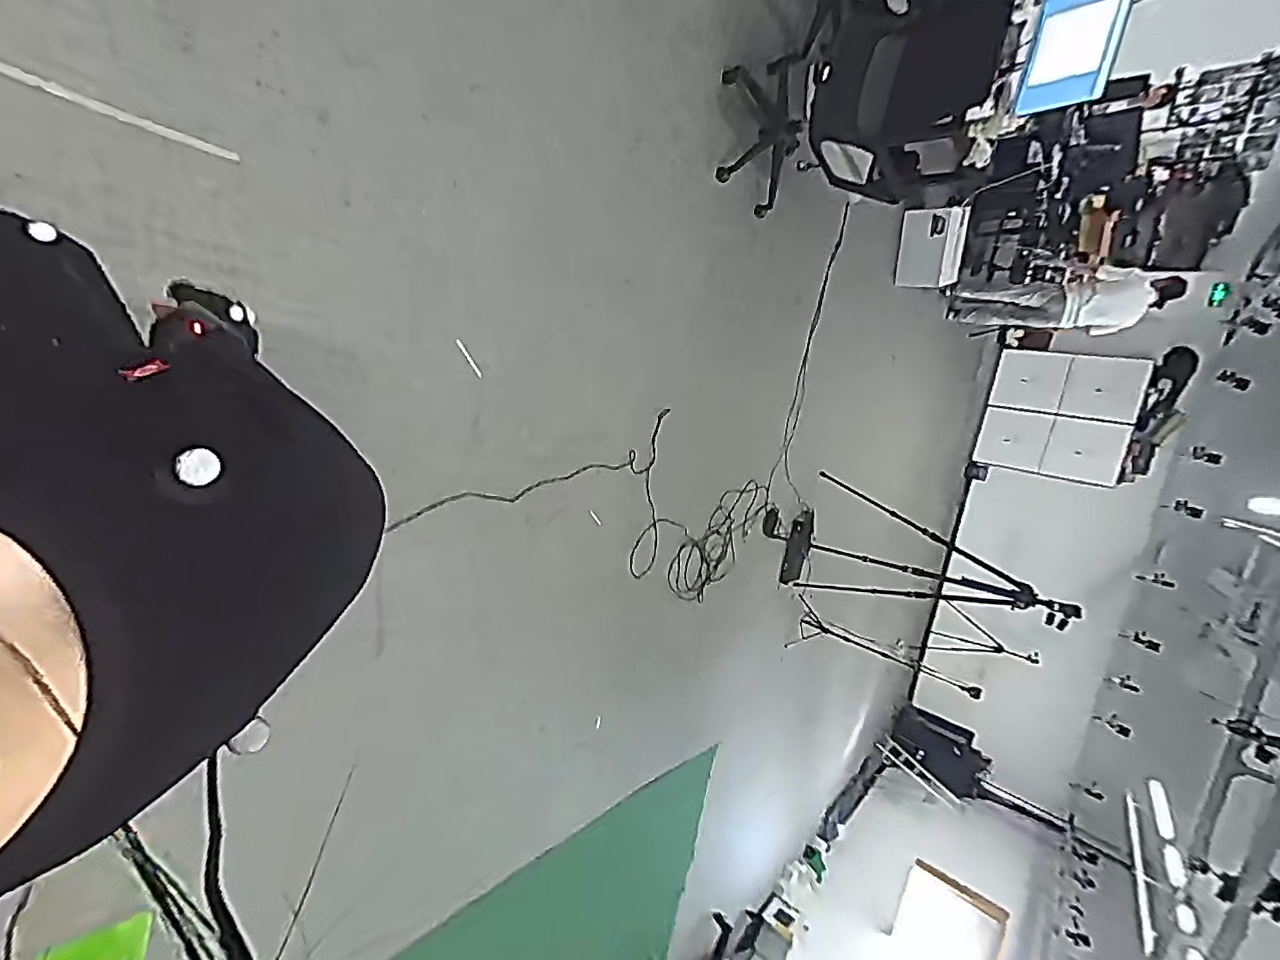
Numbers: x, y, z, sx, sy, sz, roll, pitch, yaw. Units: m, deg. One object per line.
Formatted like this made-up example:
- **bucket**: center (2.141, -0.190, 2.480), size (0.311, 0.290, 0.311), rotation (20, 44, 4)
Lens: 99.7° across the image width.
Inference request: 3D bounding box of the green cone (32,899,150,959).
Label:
- **green cone**: center (-1.197, 1.184, 1.202), size (0.200, 0.368, 0.202), rotation (5, 99, -52)

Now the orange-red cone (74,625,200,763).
- **orange-red cone**: center (-1.025, 0.476, 1.136), size (0.198, 0.360, 0.199), rotation (9, 98, -51)
